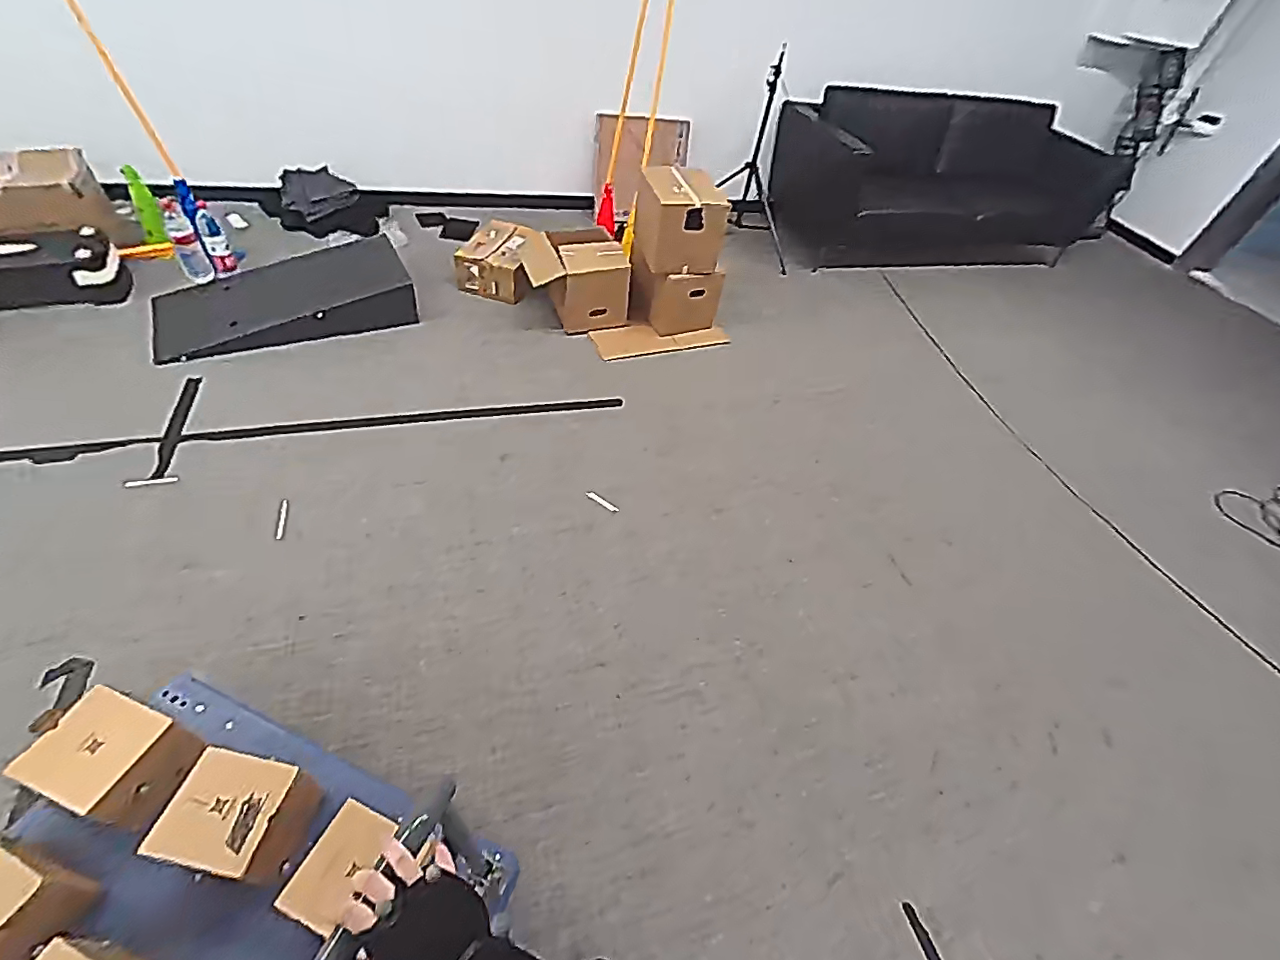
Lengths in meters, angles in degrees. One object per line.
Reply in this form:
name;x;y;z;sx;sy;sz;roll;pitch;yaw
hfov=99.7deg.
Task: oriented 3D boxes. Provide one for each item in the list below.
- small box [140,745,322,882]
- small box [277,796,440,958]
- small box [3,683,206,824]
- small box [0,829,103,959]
small box;-0.716;0.606;0.976;0.179;0.176;0.168;13;47;1
small box;-0.476;0.695;0.949;0.179;0.176;0.168;23;47;9
small box;-0.972;0.514;1.005;0.179;0.176;0.168;20;48;6
small box;-1.025;0.677;0.845;0.179;0.176;0.168;24;49;9
